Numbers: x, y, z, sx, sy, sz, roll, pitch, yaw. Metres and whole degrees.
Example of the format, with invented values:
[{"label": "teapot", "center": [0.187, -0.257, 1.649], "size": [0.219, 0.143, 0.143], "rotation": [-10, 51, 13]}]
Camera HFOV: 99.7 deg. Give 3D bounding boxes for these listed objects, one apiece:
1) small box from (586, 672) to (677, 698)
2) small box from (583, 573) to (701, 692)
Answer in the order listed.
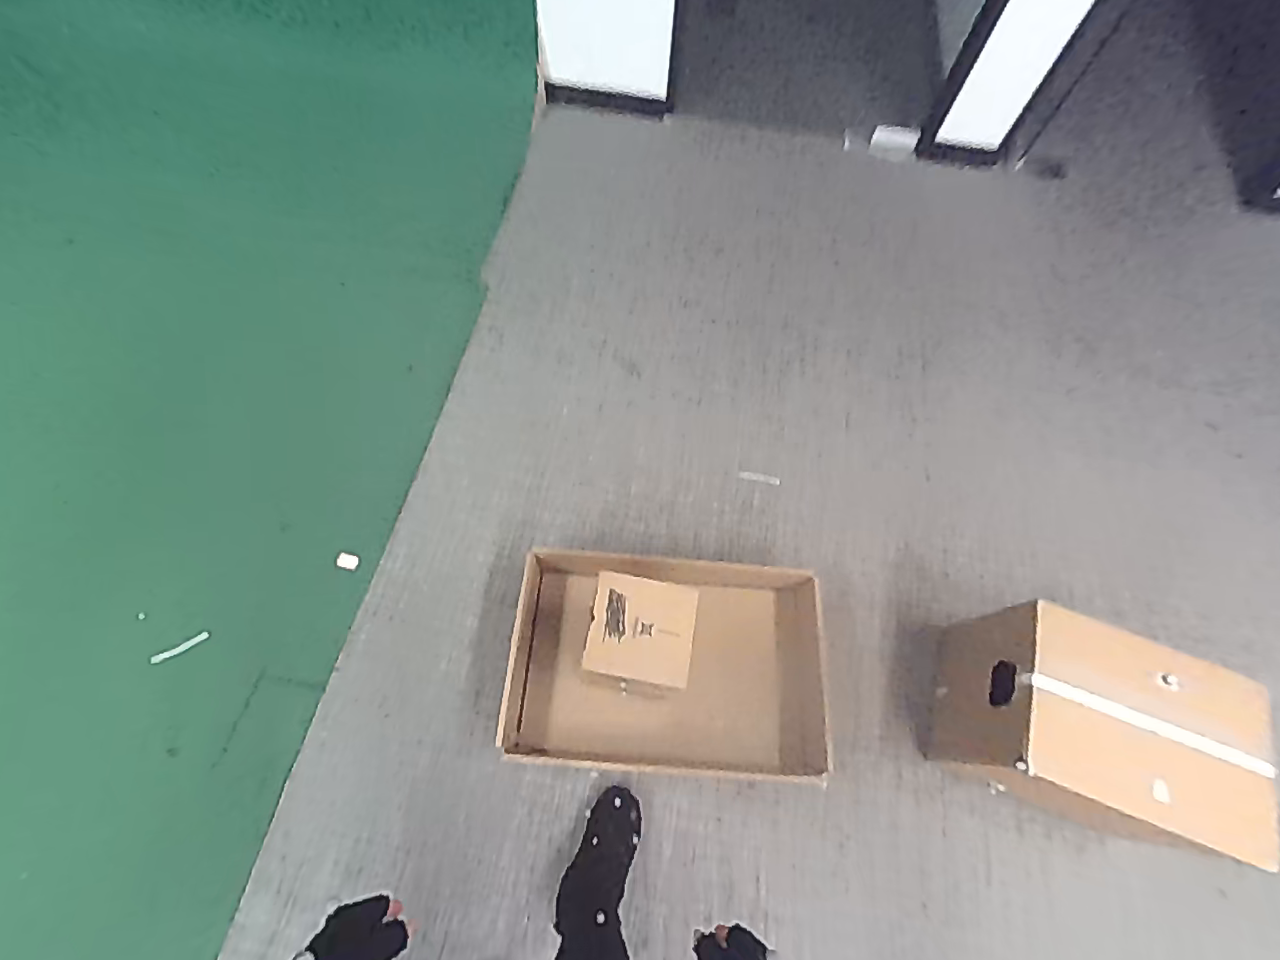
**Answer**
[{"label": "small box", "center": [-0.008, 0.351, 1.120], "size": [0.179, 0.176, 0.168], "rotation": [12, 65, 0]}, {"label": "small box", "center": [0.000, 0.280, 0.972], "size": [0.179, 0.176, 0.168], "rotation": [11, 66, 0]}]
